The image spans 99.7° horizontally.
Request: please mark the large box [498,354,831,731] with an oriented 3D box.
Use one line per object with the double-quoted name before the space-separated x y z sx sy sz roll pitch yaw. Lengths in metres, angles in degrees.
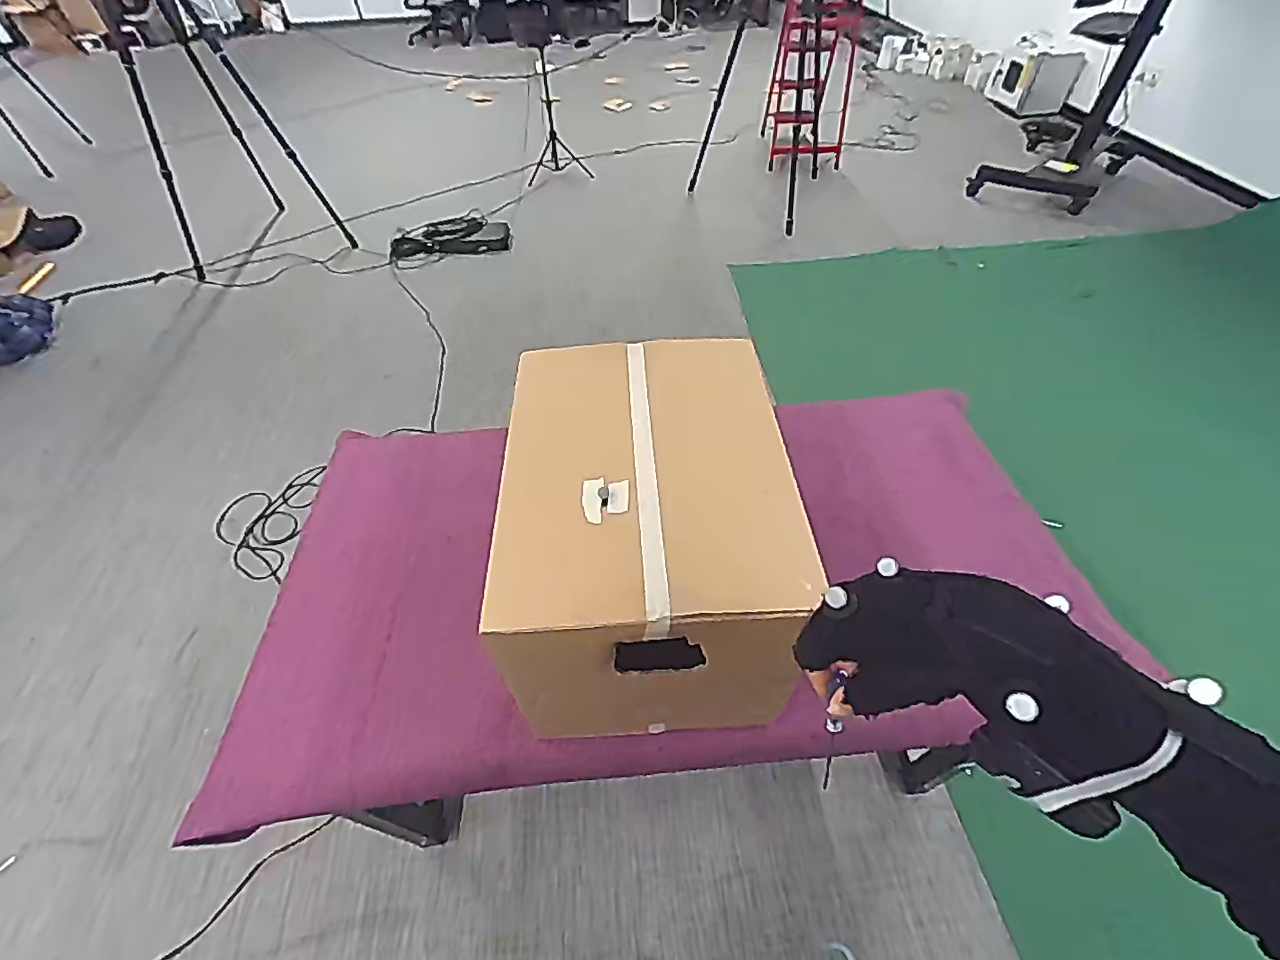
"large box" 0.012 0.078 0.728 0.320 0.320 0.408 -3 50 -1
